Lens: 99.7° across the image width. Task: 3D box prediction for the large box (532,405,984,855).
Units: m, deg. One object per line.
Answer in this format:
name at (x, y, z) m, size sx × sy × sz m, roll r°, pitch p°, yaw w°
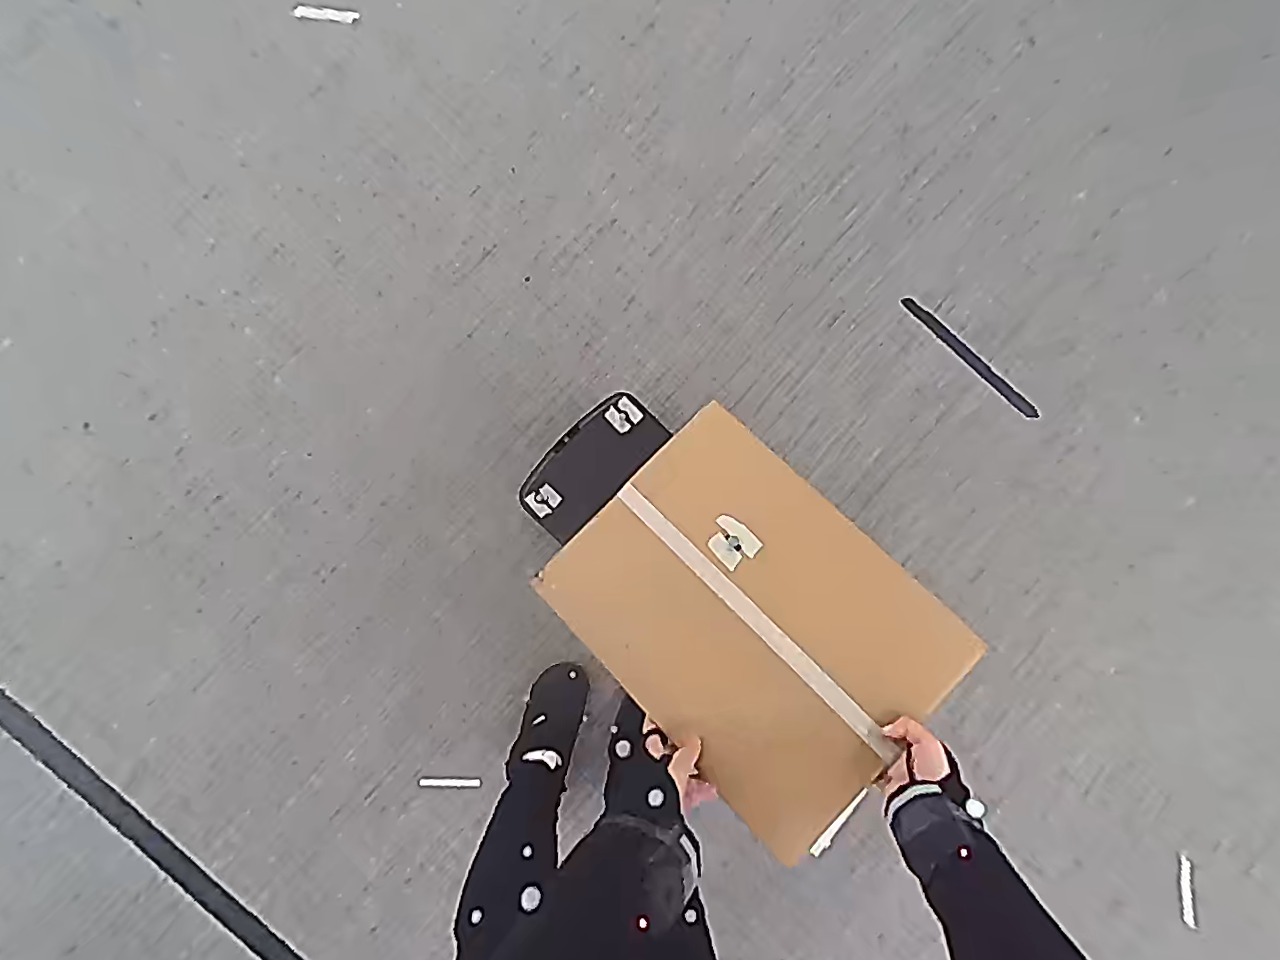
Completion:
large box at (0.136, 0.176, 0.742) m, size 0.408 × 0.320 × 0.320 m, roll 44°, pitch 85°, yaw 13°
